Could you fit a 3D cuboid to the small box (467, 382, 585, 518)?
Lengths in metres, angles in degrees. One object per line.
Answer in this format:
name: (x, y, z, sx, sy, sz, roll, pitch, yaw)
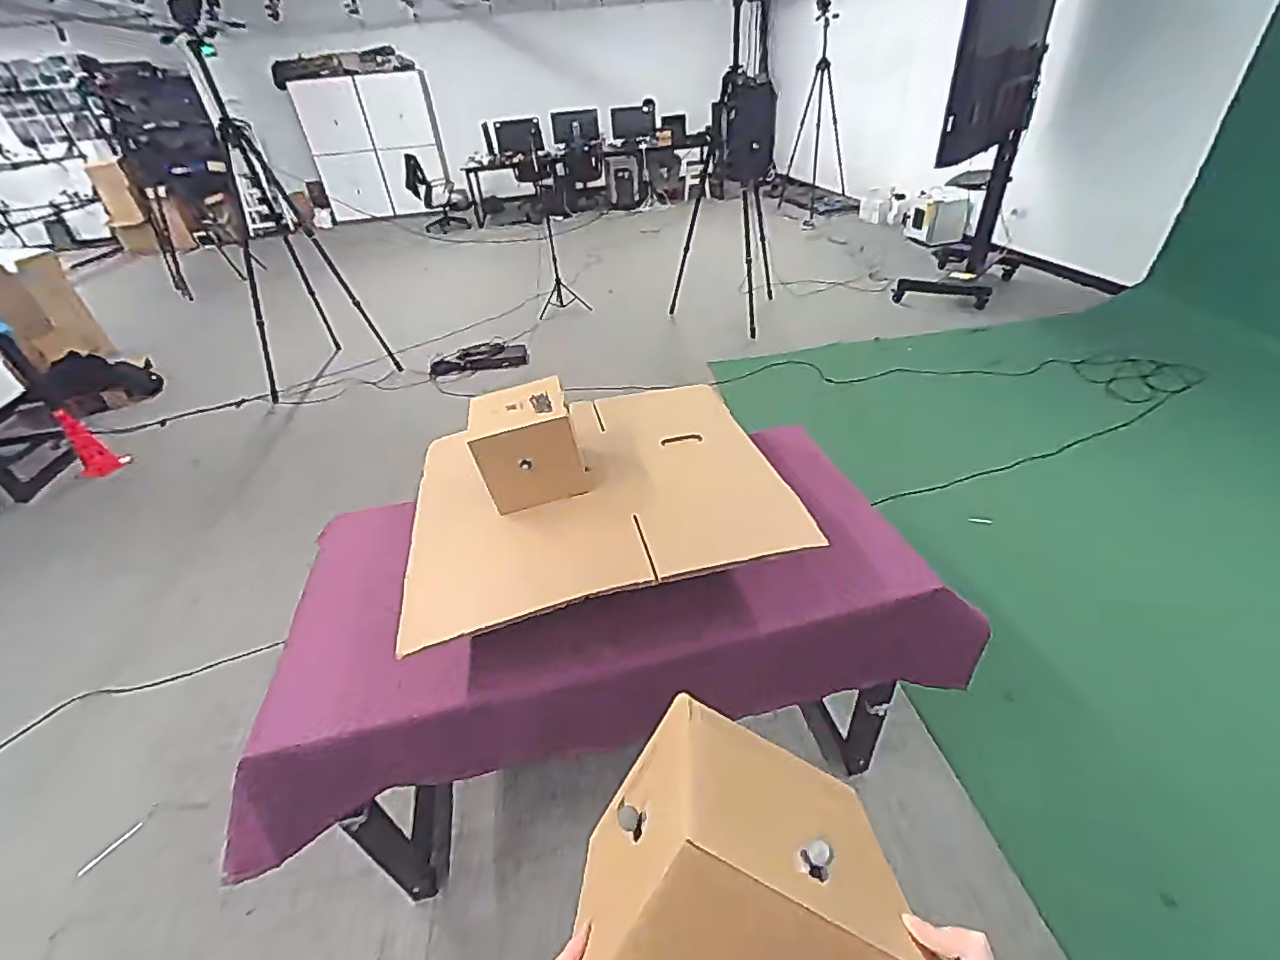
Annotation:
small box: (-0.207, -0.056, 1.018, 0.179, 0.176, 0.168, -17, 37, -2)
